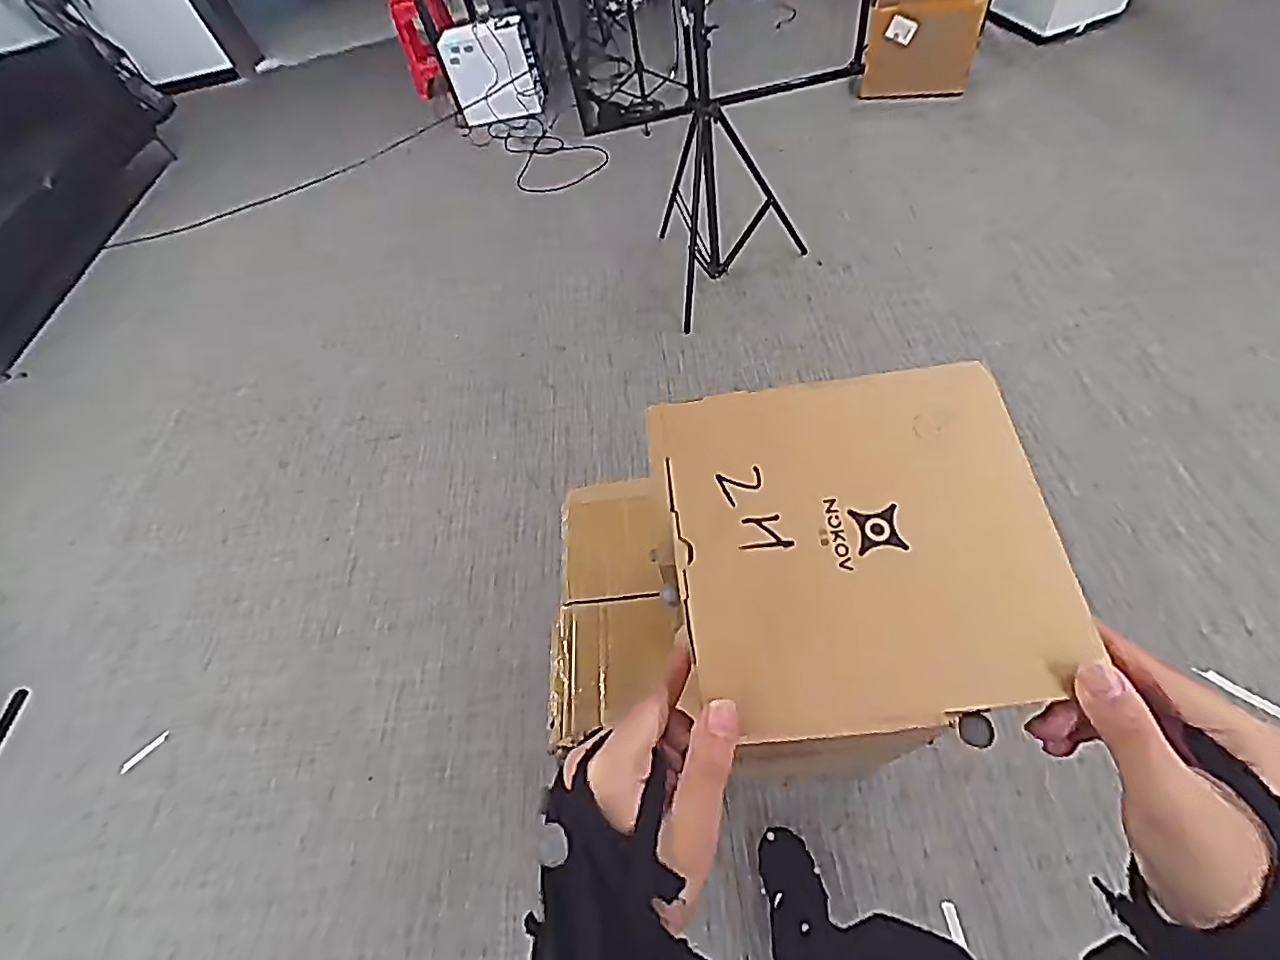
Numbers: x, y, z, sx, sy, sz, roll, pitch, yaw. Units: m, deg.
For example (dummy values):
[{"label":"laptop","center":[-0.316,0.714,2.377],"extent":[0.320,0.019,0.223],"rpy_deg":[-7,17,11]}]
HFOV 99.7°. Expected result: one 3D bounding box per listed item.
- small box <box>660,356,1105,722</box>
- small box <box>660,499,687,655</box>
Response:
[{"label":"small box","center":[0.111,0.049,0.333],"extent":[0.179,0.176,0.168],"rpy_deg":[-8,67,4]},{"label":"small box","center":[0.128,0.124,0.688],"extent":[0.179,0.176,0.168],"rpy_deg":[-8,57,7]}]
